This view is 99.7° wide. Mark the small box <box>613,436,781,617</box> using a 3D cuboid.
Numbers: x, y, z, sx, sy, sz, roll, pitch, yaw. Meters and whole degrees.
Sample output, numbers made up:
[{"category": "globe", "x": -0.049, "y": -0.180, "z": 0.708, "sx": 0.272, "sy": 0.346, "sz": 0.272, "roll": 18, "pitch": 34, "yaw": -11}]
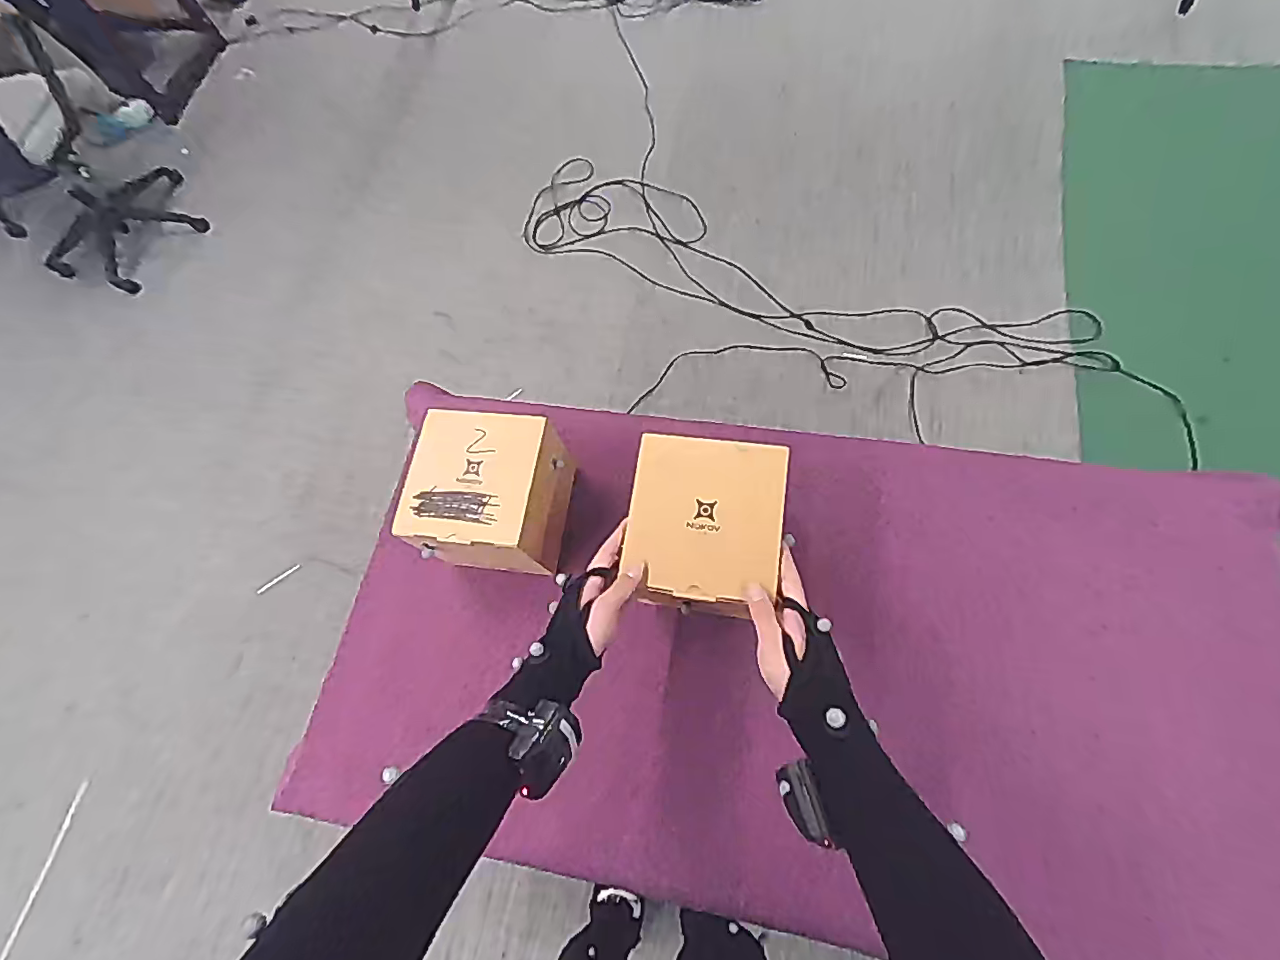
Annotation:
[{"category": "small box", "x": 0.073, "y": 0.064, "z": 0.660, "sx": 0.168, "sy": 0.176, "sz": 0.179, "roll": 6, "pitch": 74, "yaw": 10}]
